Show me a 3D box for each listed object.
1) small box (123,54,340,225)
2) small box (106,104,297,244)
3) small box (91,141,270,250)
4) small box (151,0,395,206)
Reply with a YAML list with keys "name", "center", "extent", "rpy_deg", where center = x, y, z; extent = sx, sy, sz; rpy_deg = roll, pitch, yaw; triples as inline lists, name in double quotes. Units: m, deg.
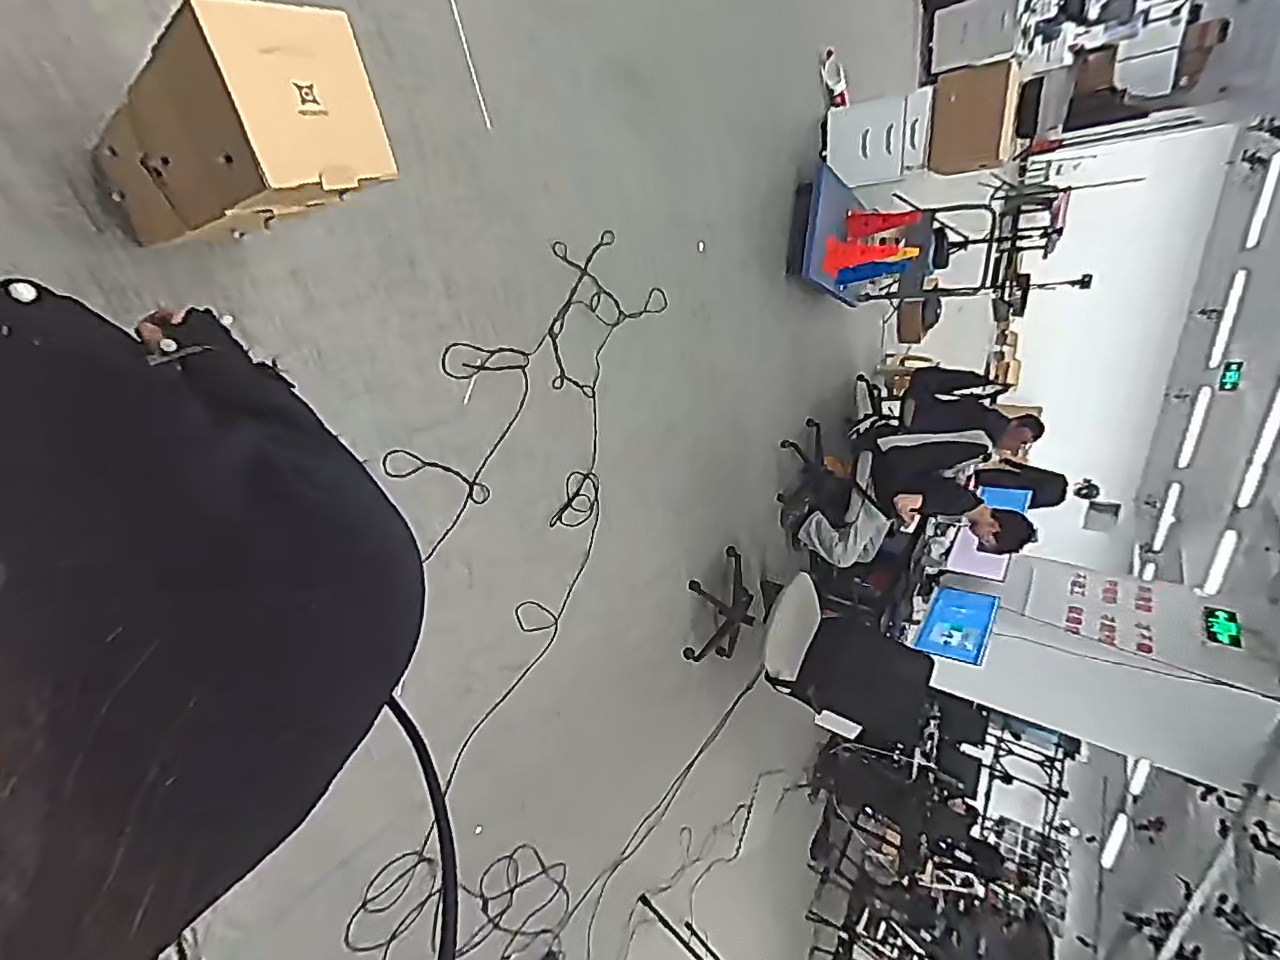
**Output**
- name: "small box"
  center: [-0.573, -0.469, 0.767]
  extent: [0.168, 0.176, 0.179]
  rpy_deg: [-38, 128, -42]
- name: "small box"
  center: [-0.703, -0.487, 0.868]
  extent: [0.179, 0.176, 0.168]
  rpy_deg: [-39, 128, -41]
- name: "small box"
  center: [-0.824, -0.520, 0.973]
  extent: [0.179, 0.176, 0.168]
  rpy_deg: [-37, 125, -42]
- name: "small box"
  center: [-0.447, -0.450, 0.668]
  extent: [0.168, 0.176, 0.179]
  rpy_deg: [-39, 126, -41]
